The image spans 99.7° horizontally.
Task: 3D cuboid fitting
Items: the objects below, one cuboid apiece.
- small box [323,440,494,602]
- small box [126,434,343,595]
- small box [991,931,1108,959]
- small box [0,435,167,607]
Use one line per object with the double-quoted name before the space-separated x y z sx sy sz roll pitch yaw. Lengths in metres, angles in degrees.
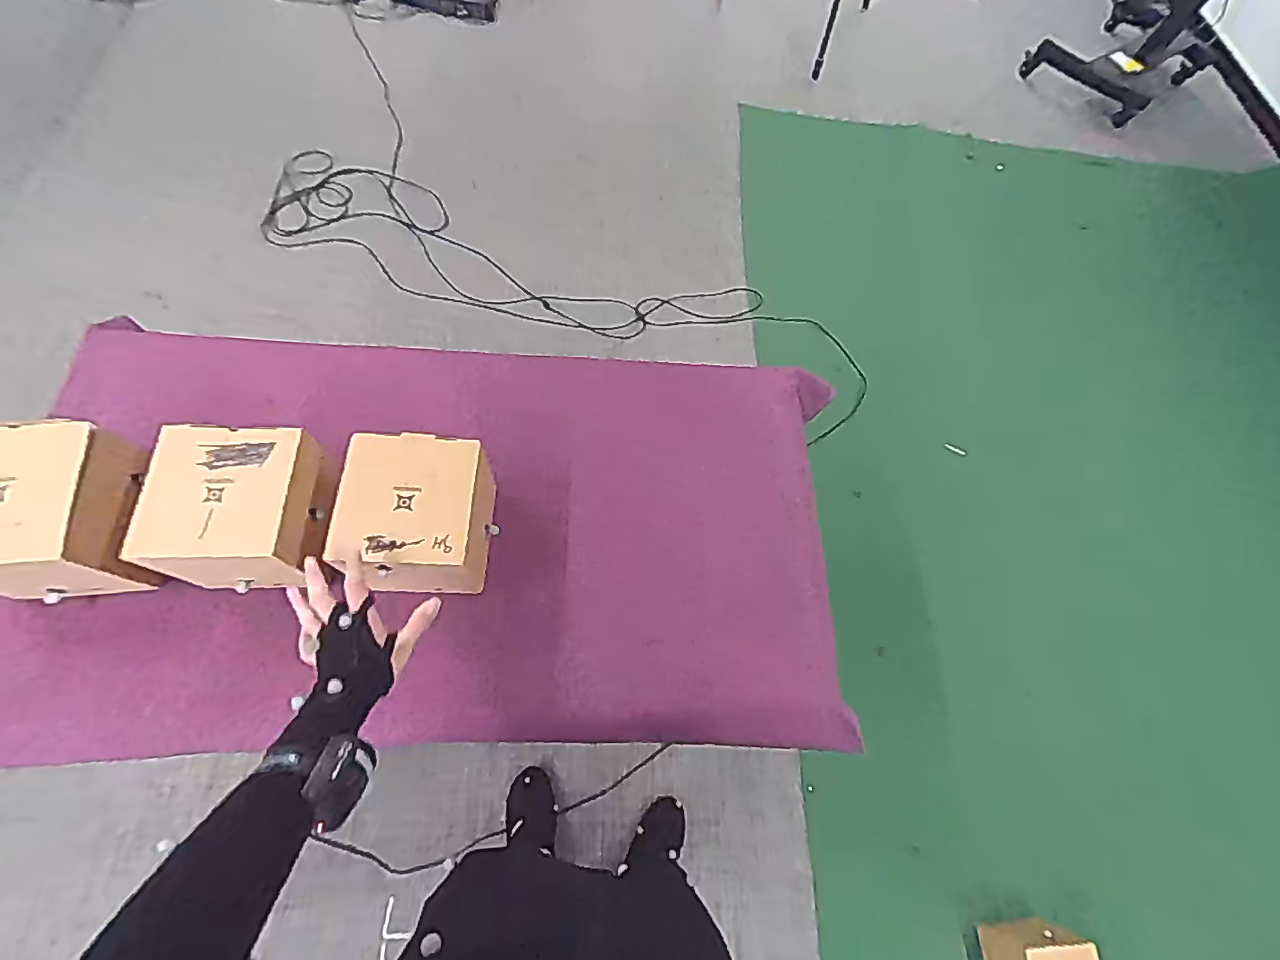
"small box" -0.306 0.063 0.760 0.168 0.176 0.179 3 65 -5
"small box" -0.526 0.053 0.740 0.168 0.176 0.179 0 68 -6
"small box" 0.931 1.147 1.215 0.179 0.176 0.168 1 66 -7
"small box" -0.752 0.059 0.711 0.168 0.176 0.179 -4 67 -8
